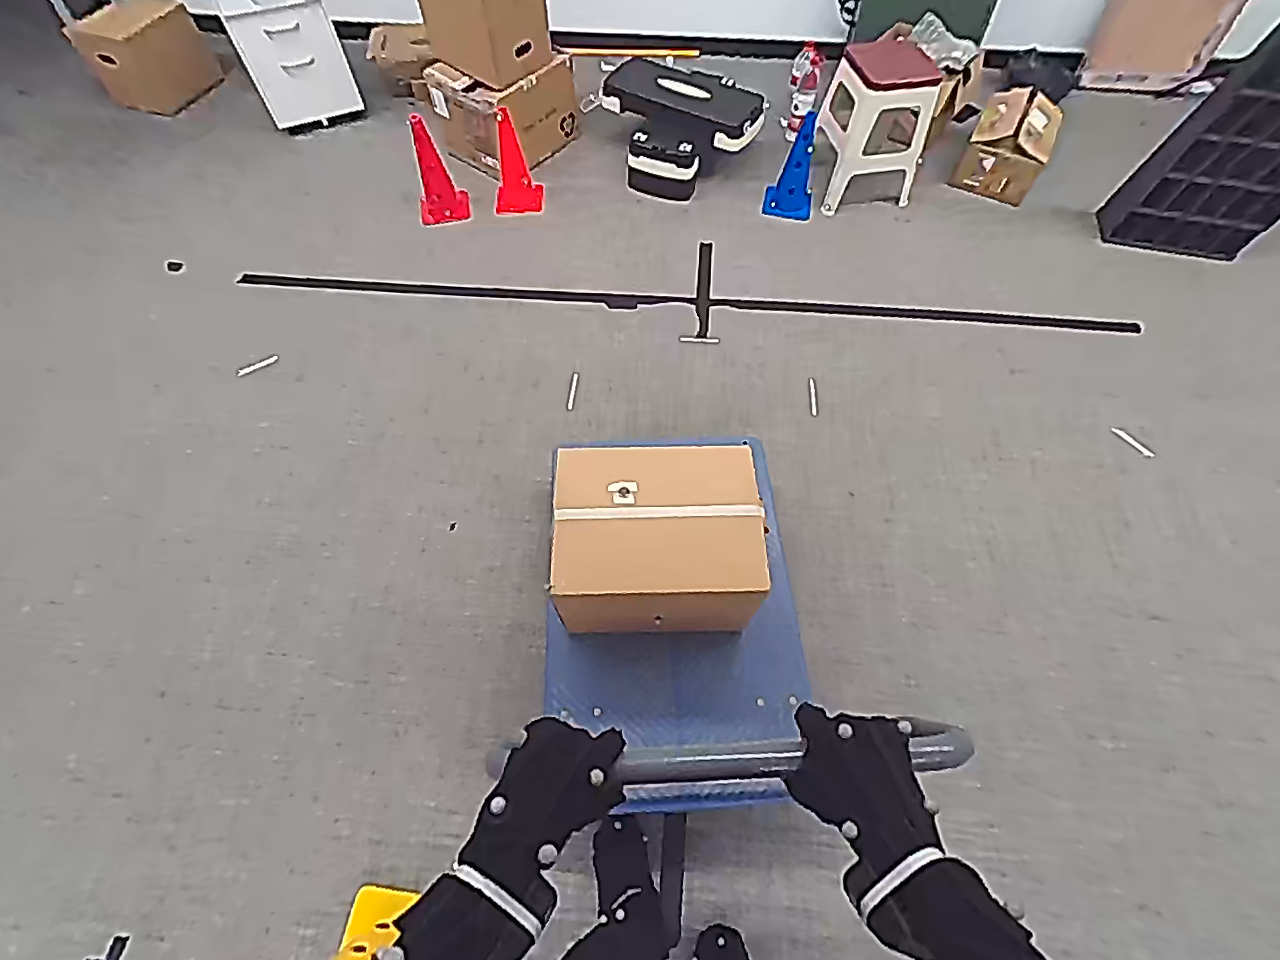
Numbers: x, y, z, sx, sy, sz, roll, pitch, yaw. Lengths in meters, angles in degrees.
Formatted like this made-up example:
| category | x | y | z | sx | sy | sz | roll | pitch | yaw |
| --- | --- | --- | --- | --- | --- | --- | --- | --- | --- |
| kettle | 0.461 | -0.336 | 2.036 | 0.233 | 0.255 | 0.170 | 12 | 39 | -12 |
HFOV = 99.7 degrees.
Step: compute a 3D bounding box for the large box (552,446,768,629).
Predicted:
| category | x | y | z | sx | sy | sz | roll | pitch | yaw |
| --- | --- | --- | --- | --- | --- | --- | --- | --- | --- |
| large box | 0.035 | 0.138 | 1.187 | 0.408 | 0.320 | 0.320 | -1 | 61 | 0 |
